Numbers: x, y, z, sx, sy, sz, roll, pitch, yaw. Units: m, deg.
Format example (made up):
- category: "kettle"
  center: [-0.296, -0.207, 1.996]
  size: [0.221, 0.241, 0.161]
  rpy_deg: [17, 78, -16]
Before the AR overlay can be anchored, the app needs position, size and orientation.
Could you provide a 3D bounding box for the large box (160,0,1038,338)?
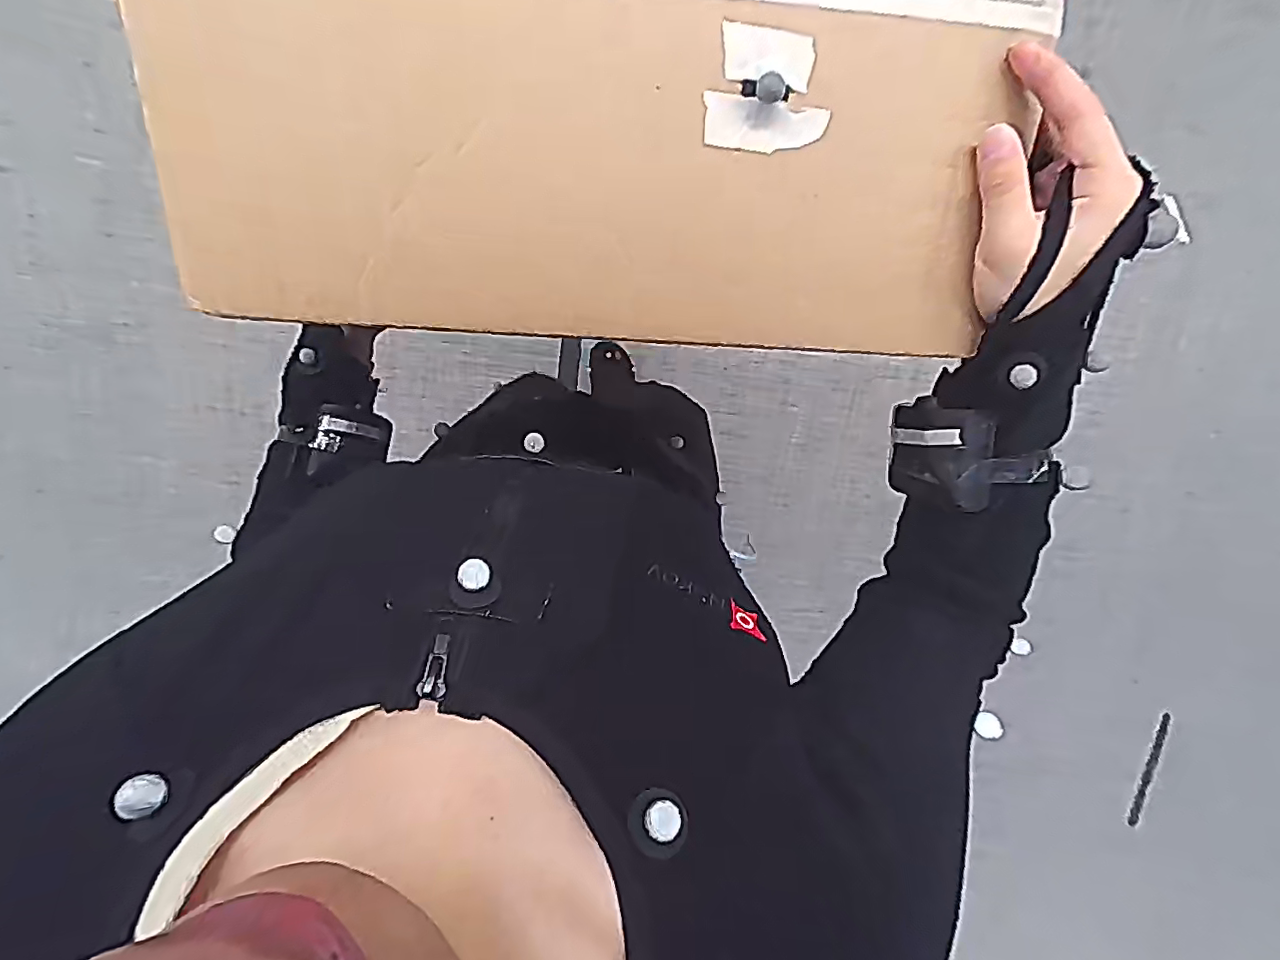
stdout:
- category: "large box"
  center: [-0.021, -0.273, 0.384]
  size: [0.408, 0.320, 0.320]
  rpy_deg: [1, 109, -7]
